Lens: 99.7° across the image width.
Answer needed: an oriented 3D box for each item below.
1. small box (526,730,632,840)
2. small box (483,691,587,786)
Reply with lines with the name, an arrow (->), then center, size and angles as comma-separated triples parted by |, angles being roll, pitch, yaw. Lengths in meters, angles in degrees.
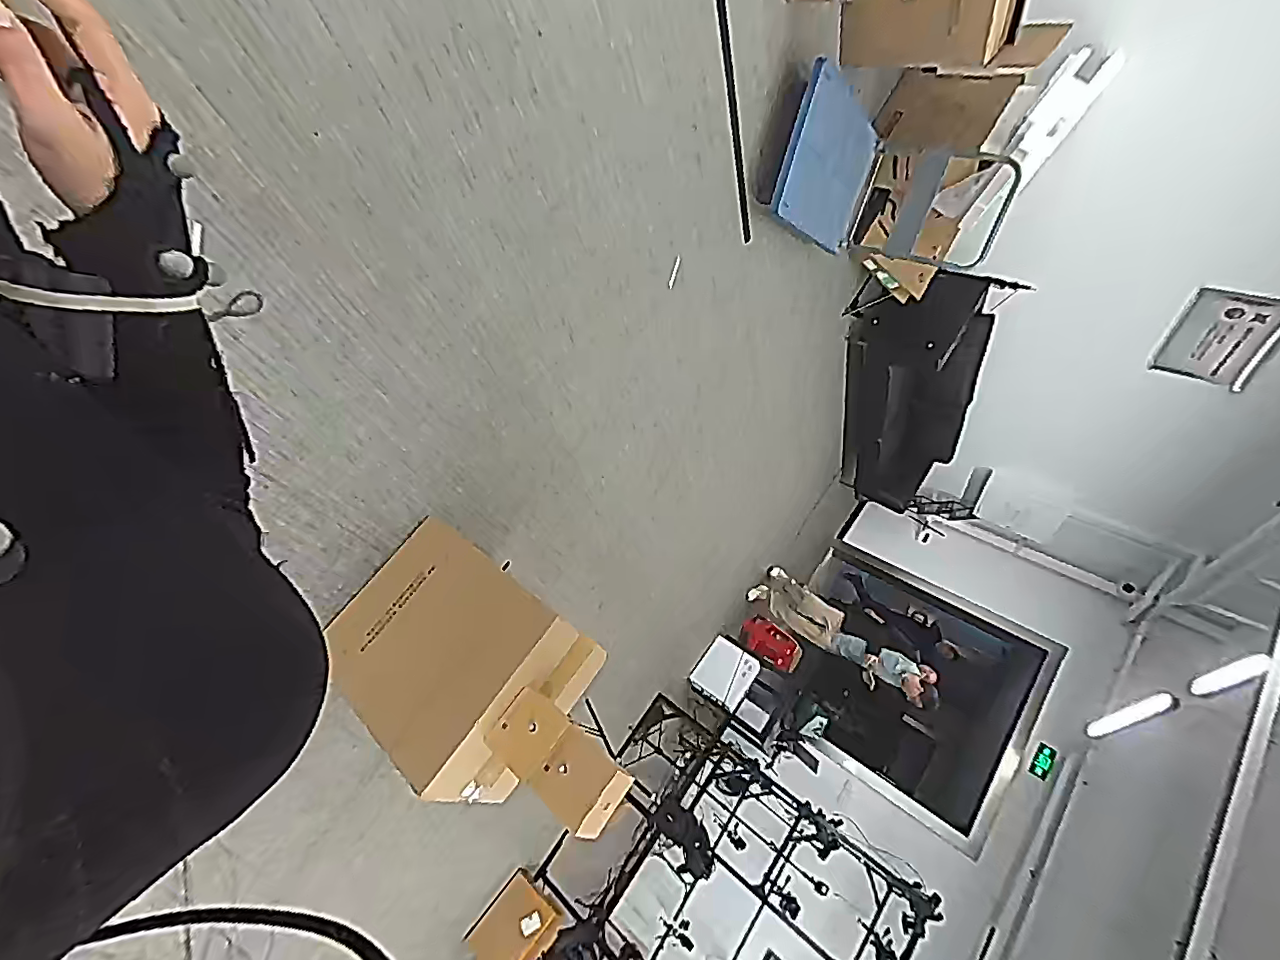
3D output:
small box -> -0.147, 0.750, 1.336 | 0.168, 0.176, 0.179 | -51, 148, -21
small box -> -0.275, 0.679, 1.415 | 0.168, 0.176, 0.179 | -52, 148, -19
